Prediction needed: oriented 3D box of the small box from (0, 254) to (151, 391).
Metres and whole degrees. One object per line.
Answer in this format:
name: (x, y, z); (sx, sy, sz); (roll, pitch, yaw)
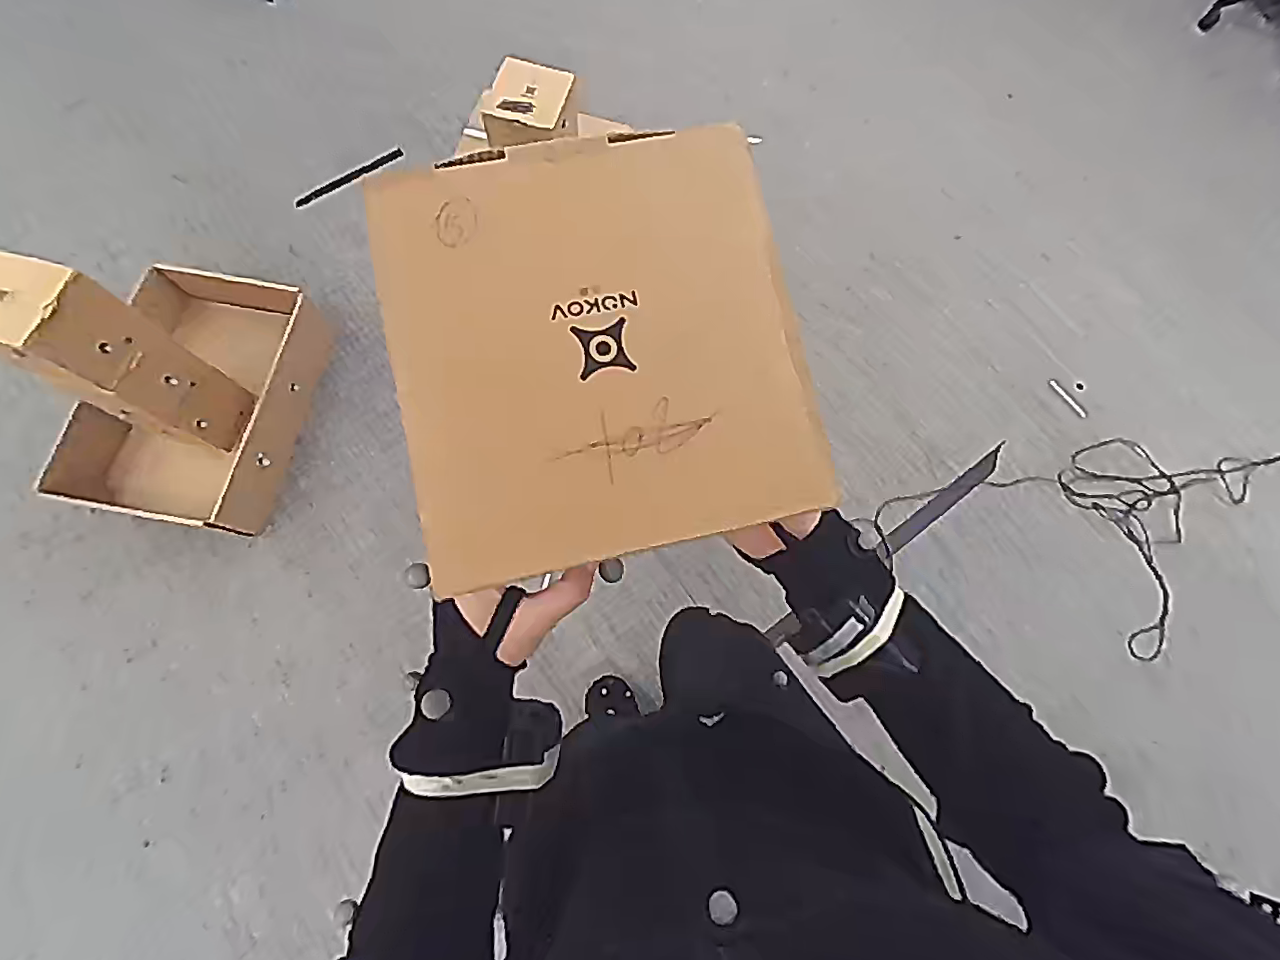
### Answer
small box: (-1.088, -0.284, 1.003); (0.179, 0.176, 0.168); (13, 72, 1)

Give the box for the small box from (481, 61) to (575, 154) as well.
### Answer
small box: (-0.255, -0.831, 1.281); (0.168, 0.176, 0.179); (15, 73, 0)

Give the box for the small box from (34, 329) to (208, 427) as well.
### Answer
small box: (-1.090, -0.229, 1.157); (0.179, 0.176, 0.168); (14, 72, 1)

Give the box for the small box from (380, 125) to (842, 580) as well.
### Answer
small box: (-0.020, -0.050, 0.301); (0.168, 0.176, 0.179); (-11, 85, -6)
